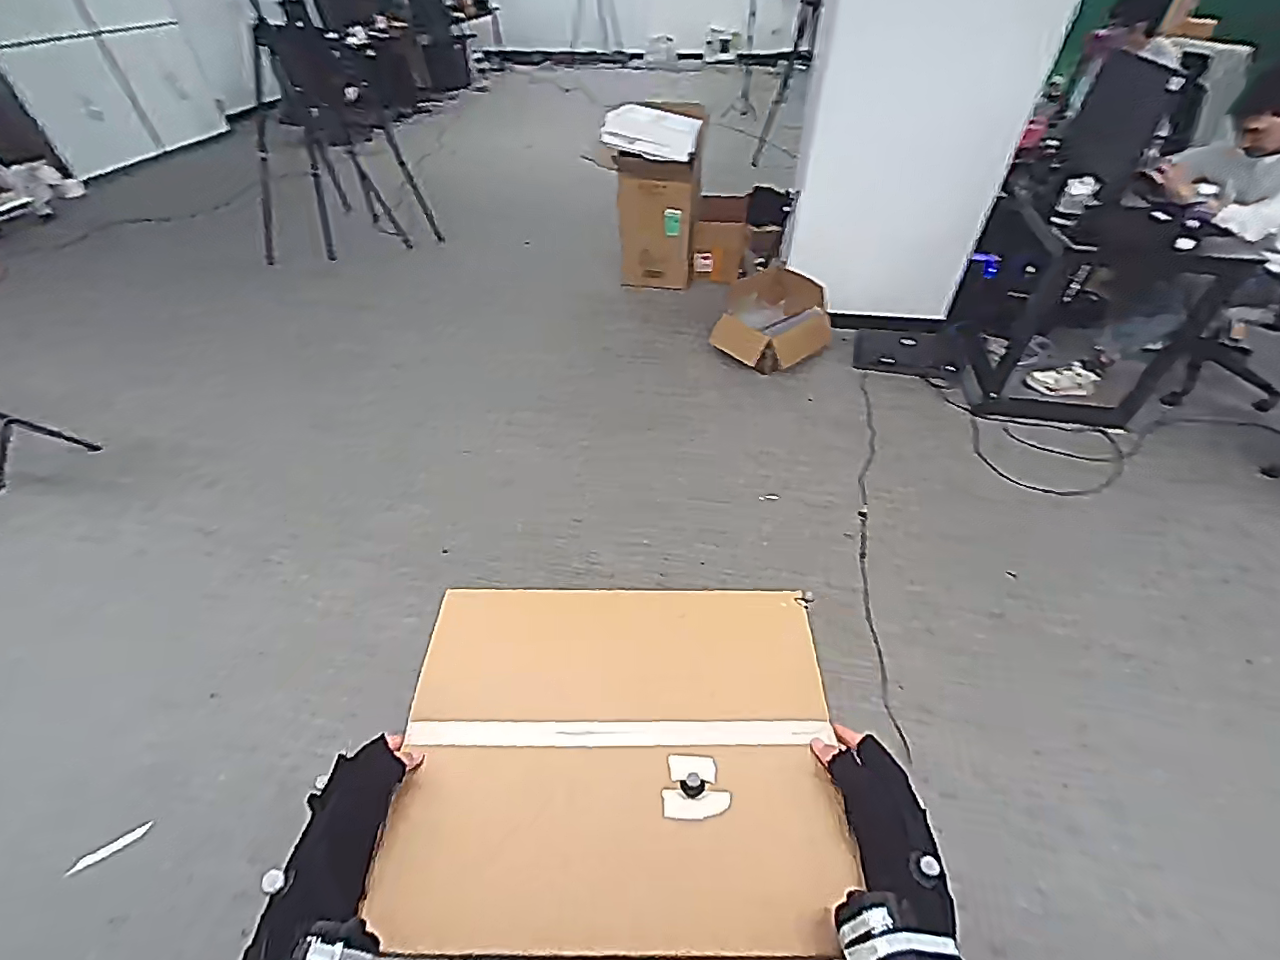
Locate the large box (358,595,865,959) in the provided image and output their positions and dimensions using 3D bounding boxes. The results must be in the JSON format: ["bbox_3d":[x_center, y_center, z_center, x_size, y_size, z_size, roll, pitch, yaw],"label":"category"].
[{"bbox_3d":[-0.026,0.348,0.626,0.408,0.320,0.320,0,47,-1],"label":"large box"}]
